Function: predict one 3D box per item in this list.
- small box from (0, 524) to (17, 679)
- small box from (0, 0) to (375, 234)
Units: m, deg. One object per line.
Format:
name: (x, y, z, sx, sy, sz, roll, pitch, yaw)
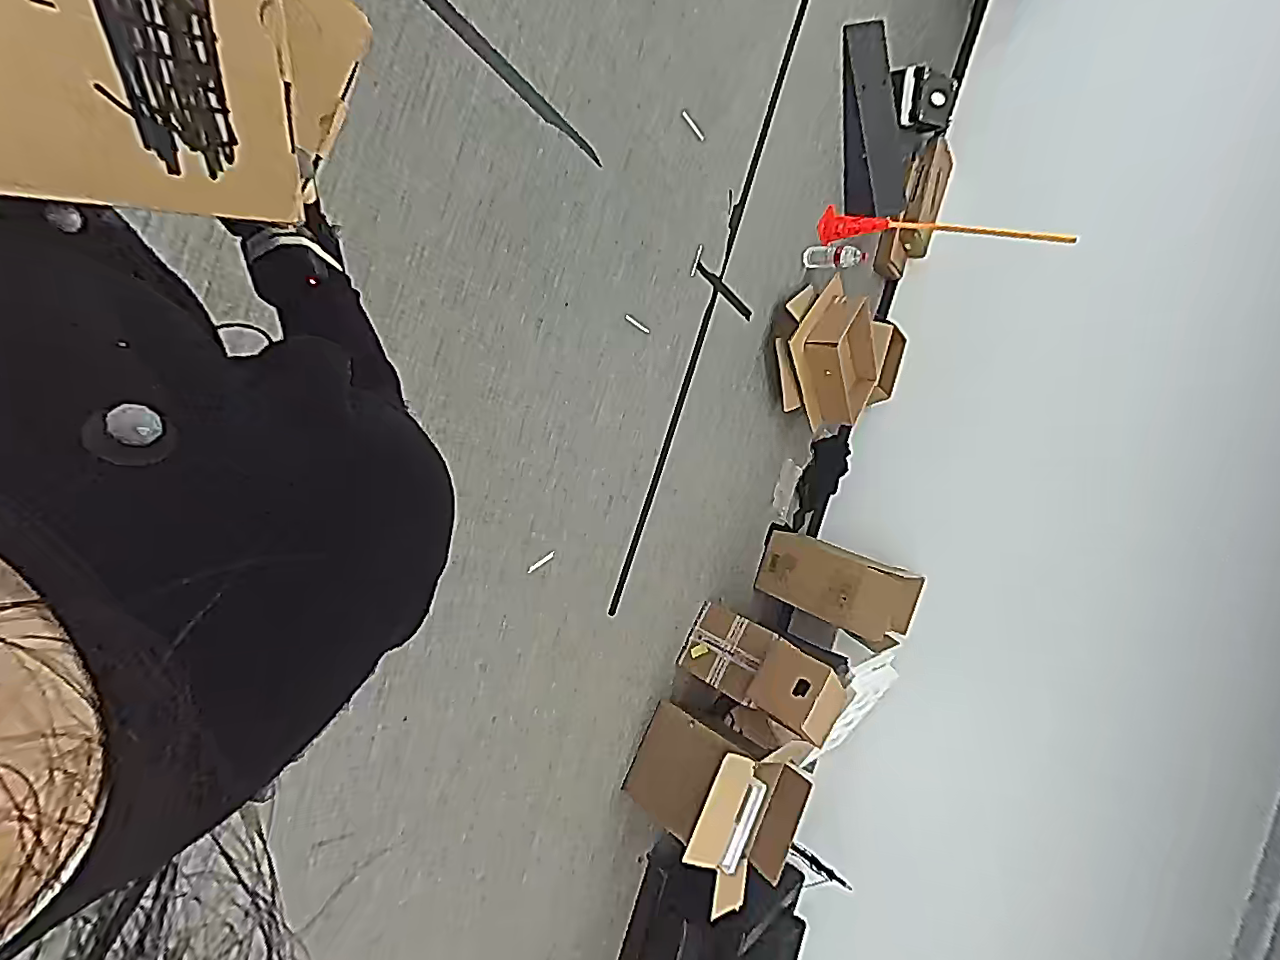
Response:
small box: (-0.846, 0.143, 0.615, 0.168, 0.176, 0.179, 7, 99, -49)
small box: (-0.338, -0.307, 0.386, 0.179, 0.176, 0.168, 24, 90, -54)
